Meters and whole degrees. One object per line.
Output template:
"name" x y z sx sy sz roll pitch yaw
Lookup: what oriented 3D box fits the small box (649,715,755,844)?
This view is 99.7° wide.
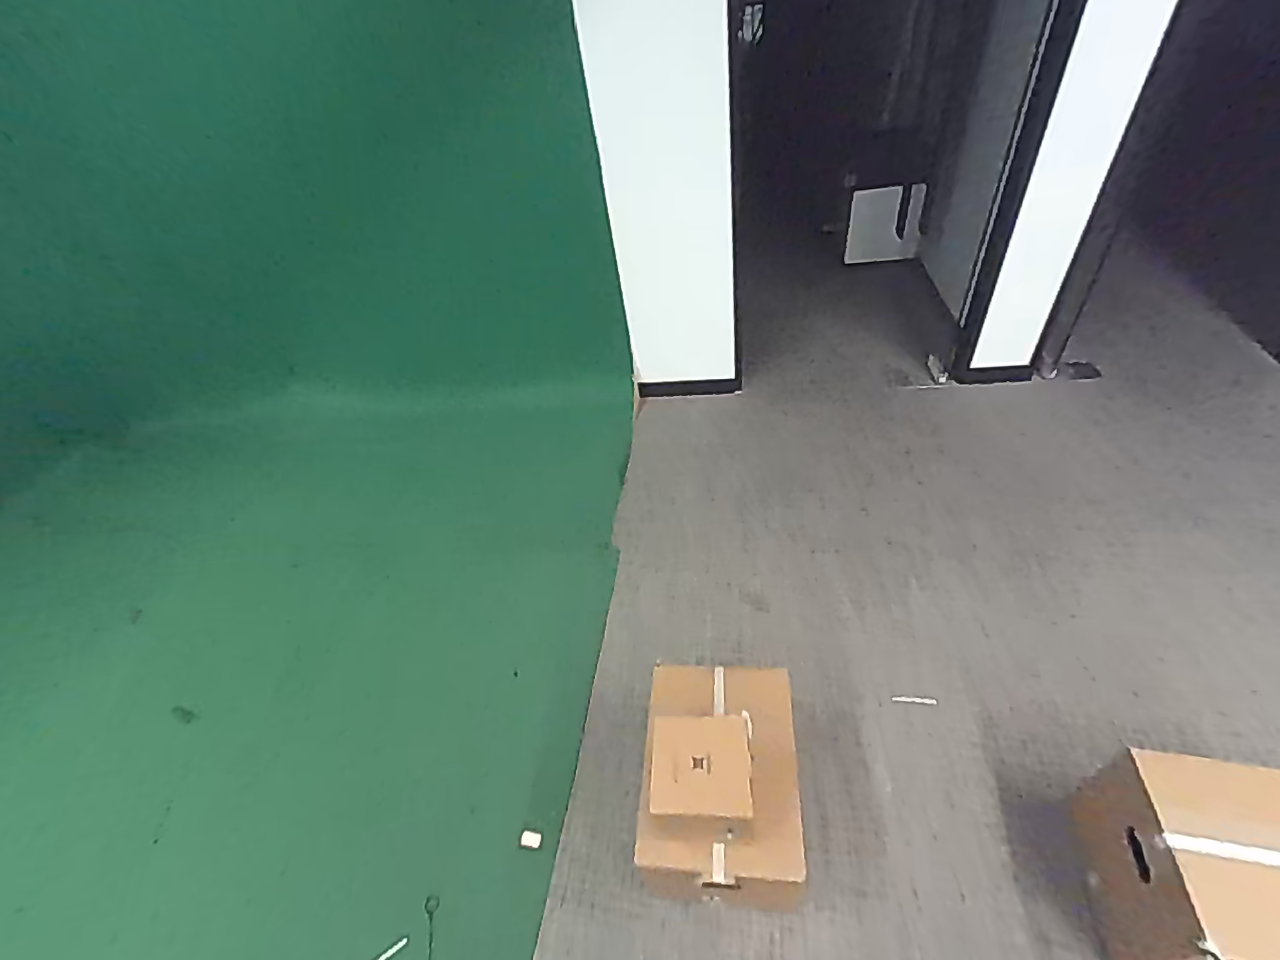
"small box" 0.121 0.556 1.003 0.179 0.176 0.168 -4 42 11

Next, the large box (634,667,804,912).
"large box" 0.181 0.684 1.216 0.320 0.320 0.408 -1 43 10
